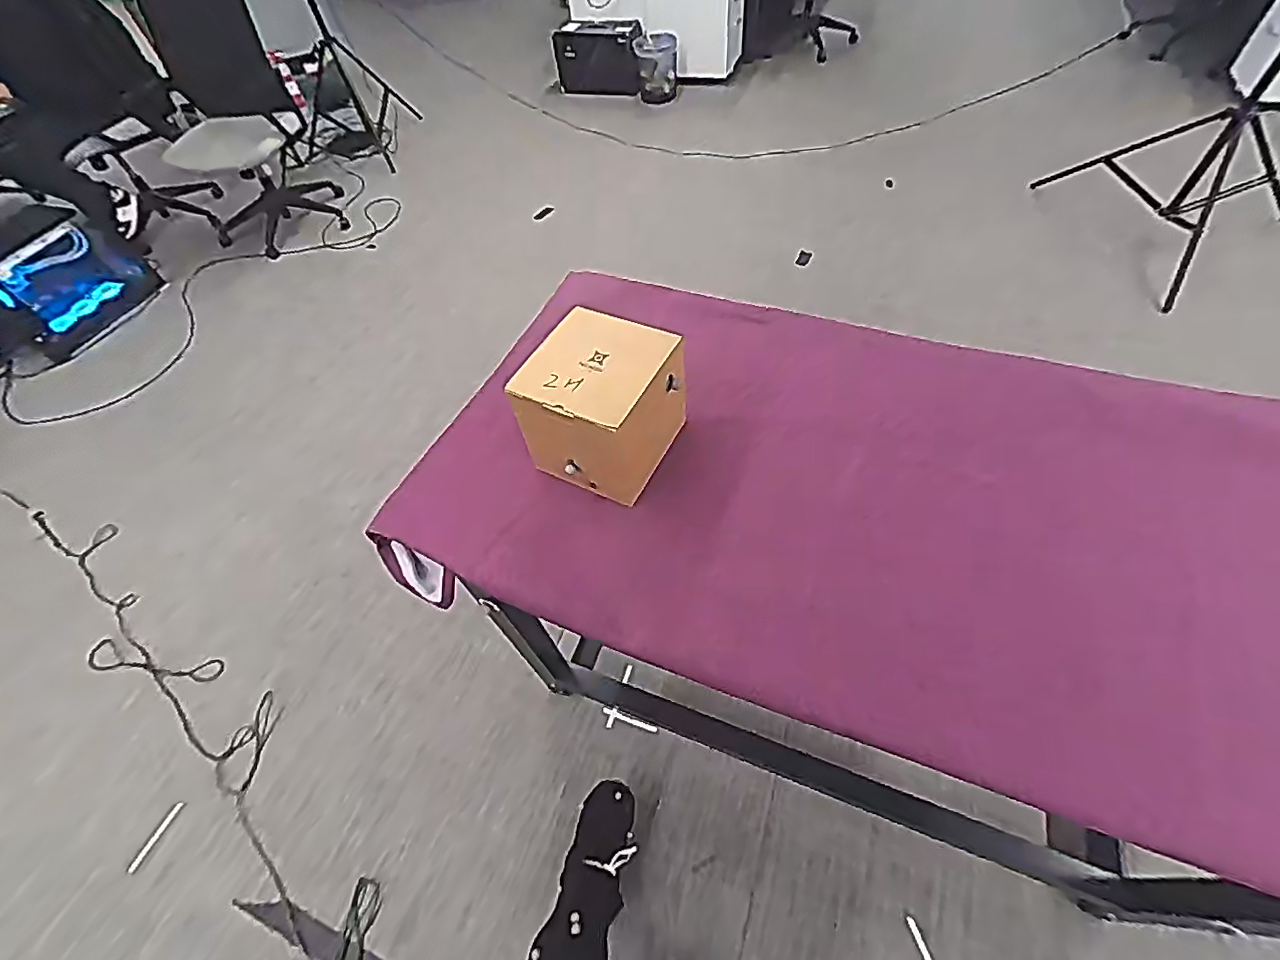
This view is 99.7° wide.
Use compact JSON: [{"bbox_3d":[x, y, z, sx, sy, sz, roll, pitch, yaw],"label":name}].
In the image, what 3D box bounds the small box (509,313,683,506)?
[{"bbox_3d":[-0.049,-0.096,0.754,0.168,0.176,0.179,21,59,20],"label":"small box"}]
